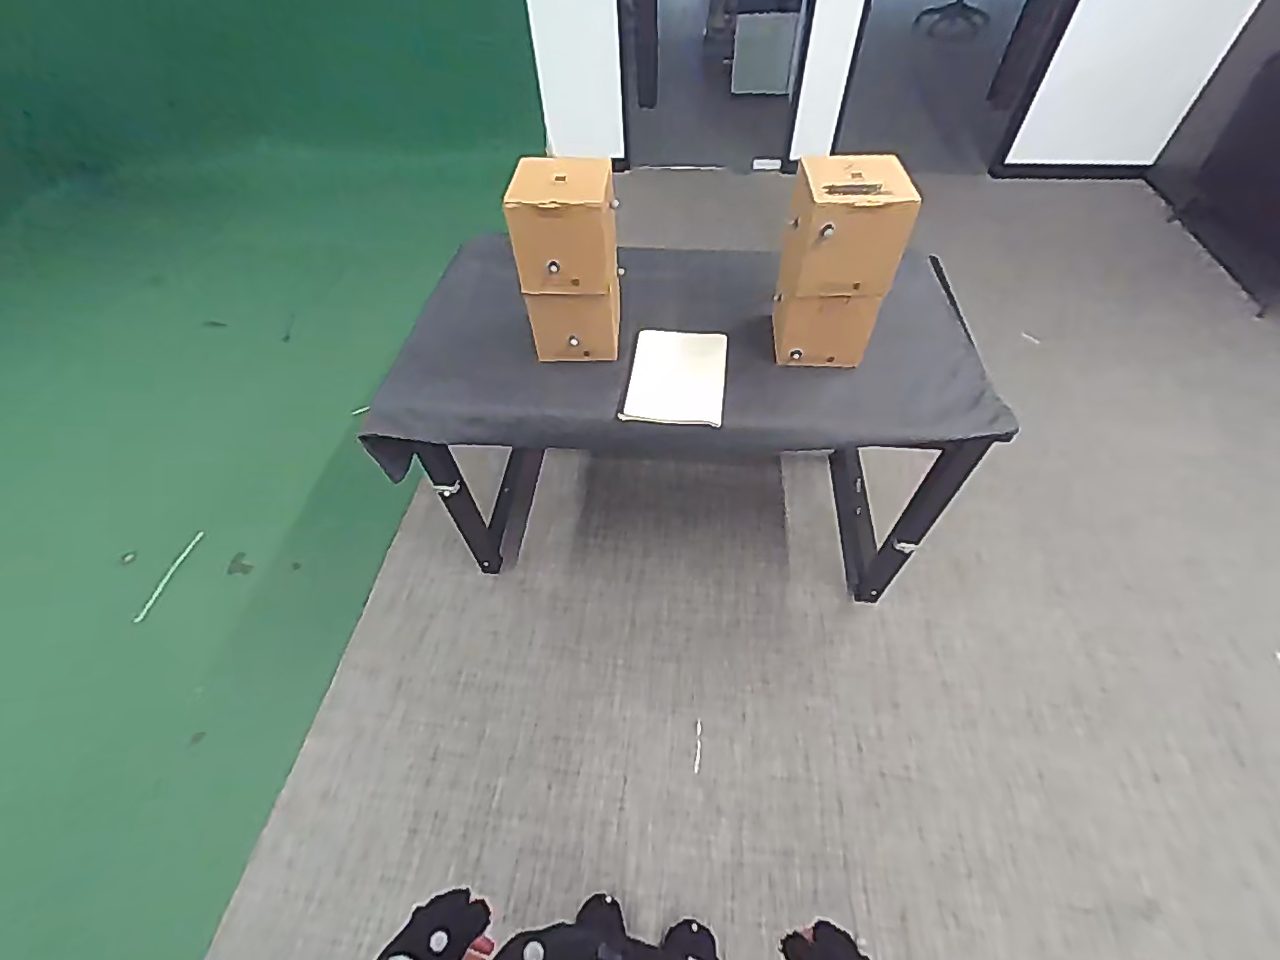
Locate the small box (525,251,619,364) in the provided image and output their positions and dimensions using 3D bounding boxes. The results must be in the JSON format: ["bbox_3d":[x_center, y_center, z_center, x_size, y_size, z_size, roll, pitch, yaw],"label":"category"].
[{"bbox_3d":[-0.132,-0.363,1.123,0.168,0.176,0.179,-1,52,2],"label":"small box"}]

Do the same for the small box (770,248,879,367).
[{"bbox_3d":[0.363,-0.347,1.095,0.168,0.176,0.179,3,51,4],"label":"small box"}]

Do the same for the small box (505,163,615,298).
[{"bbox_3d":[-0.135,-0.456,0.990,0.168,0.176,0.179,1,52,2],"label":"small box"}]
